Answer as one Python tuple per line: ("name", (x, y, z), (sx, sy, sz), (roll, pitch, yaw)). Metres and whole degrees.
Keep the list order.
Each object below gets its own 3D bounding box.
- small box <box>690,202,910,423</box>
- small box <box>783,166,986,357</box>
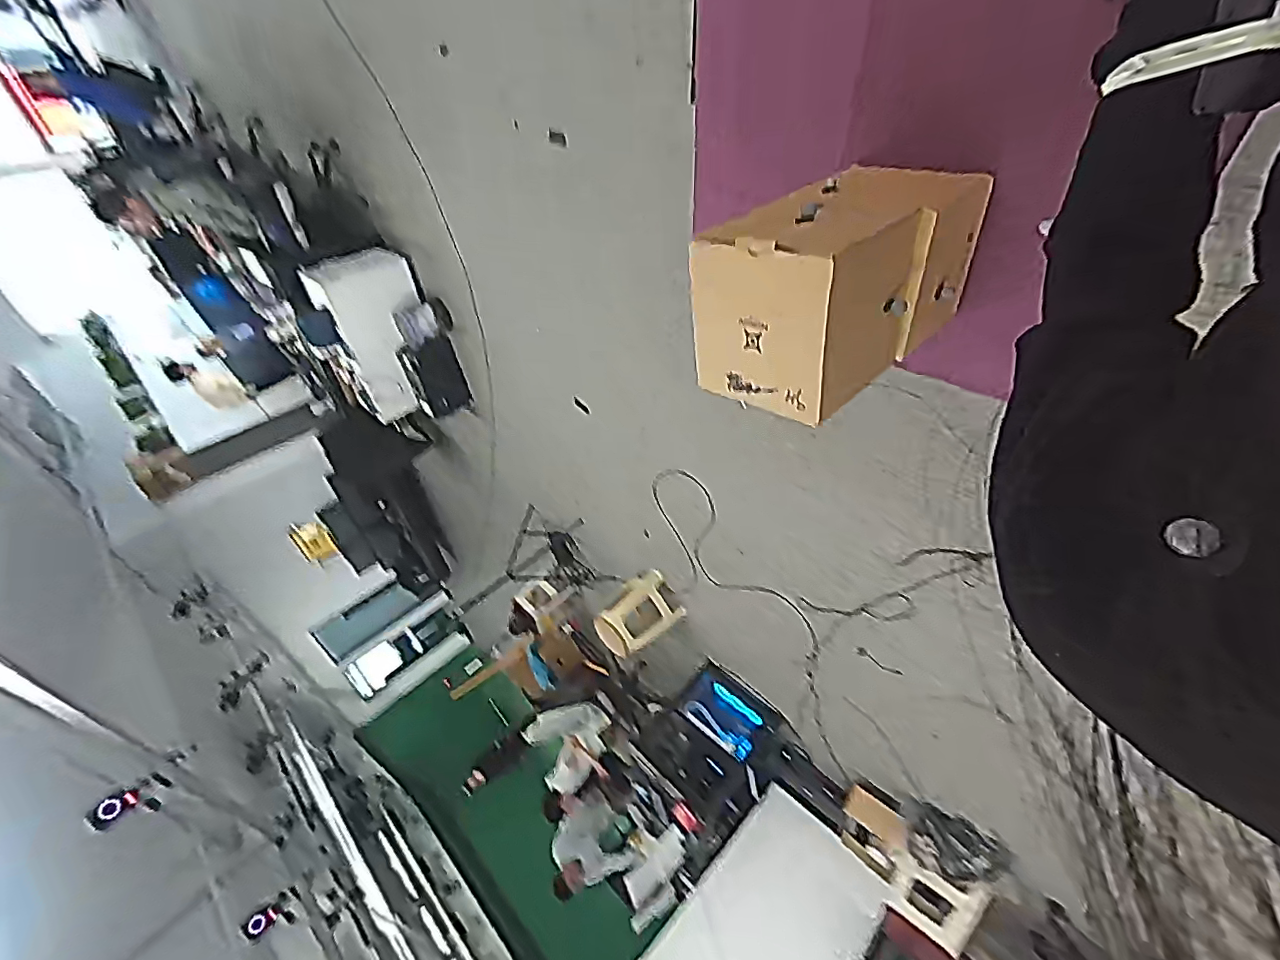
("small box", (0.174, -0.196, 0.600), (0.168, 0.176, 0.179), (28, 141, 38))
("small box", (0.294, -0.280, 0.675), (0.179, 0.176, 0.168), (30, 142, 36))
